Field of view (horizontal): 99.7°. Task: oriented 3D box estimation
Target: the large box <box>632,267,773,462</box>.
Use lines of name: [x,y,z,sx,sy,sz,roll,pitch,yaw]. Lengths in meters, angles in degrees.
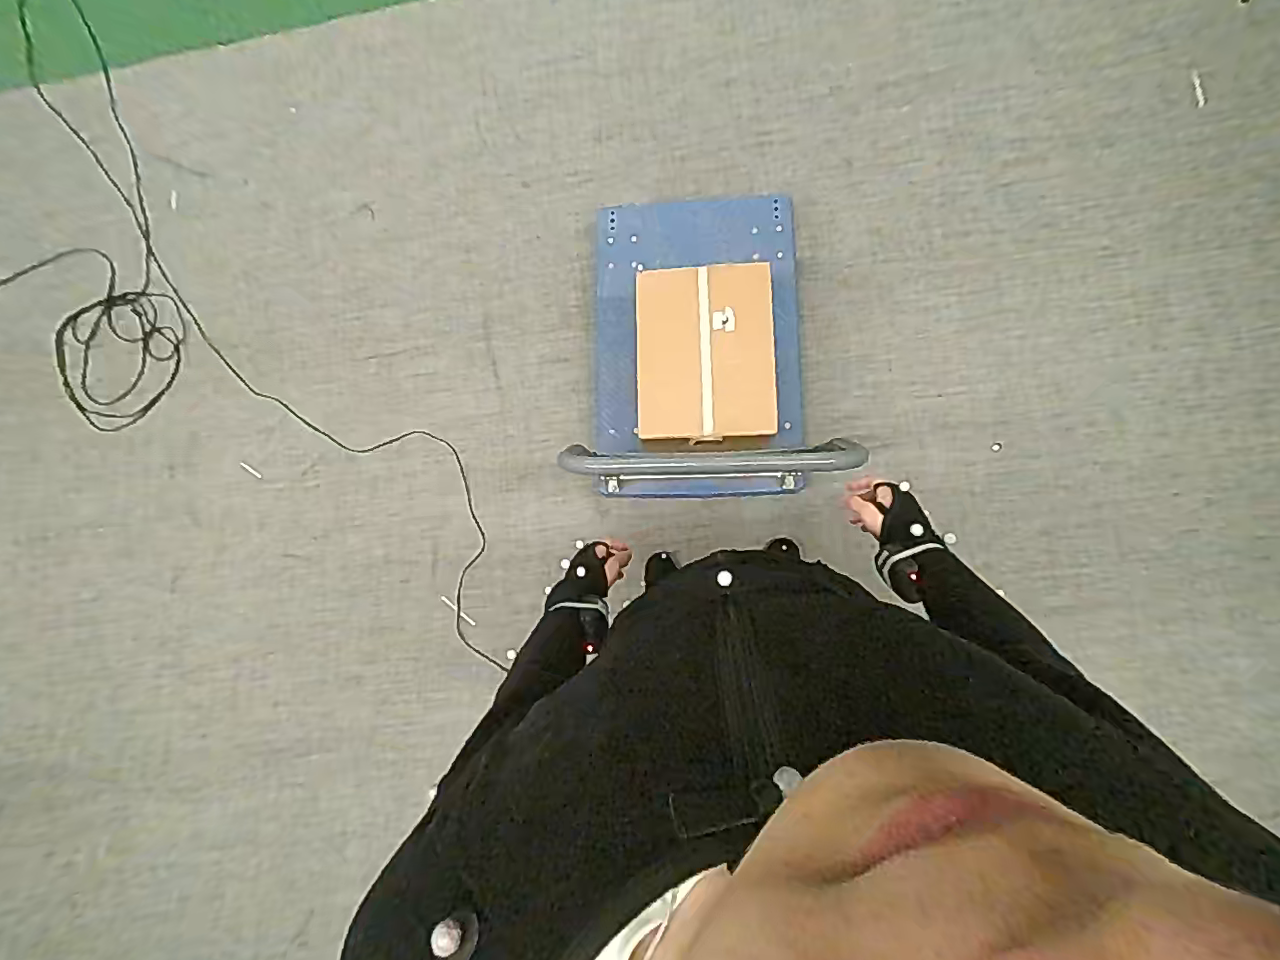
large box: [0.155,-0.272,1.391,0.320,0.320,0.408,-2,82,5]
